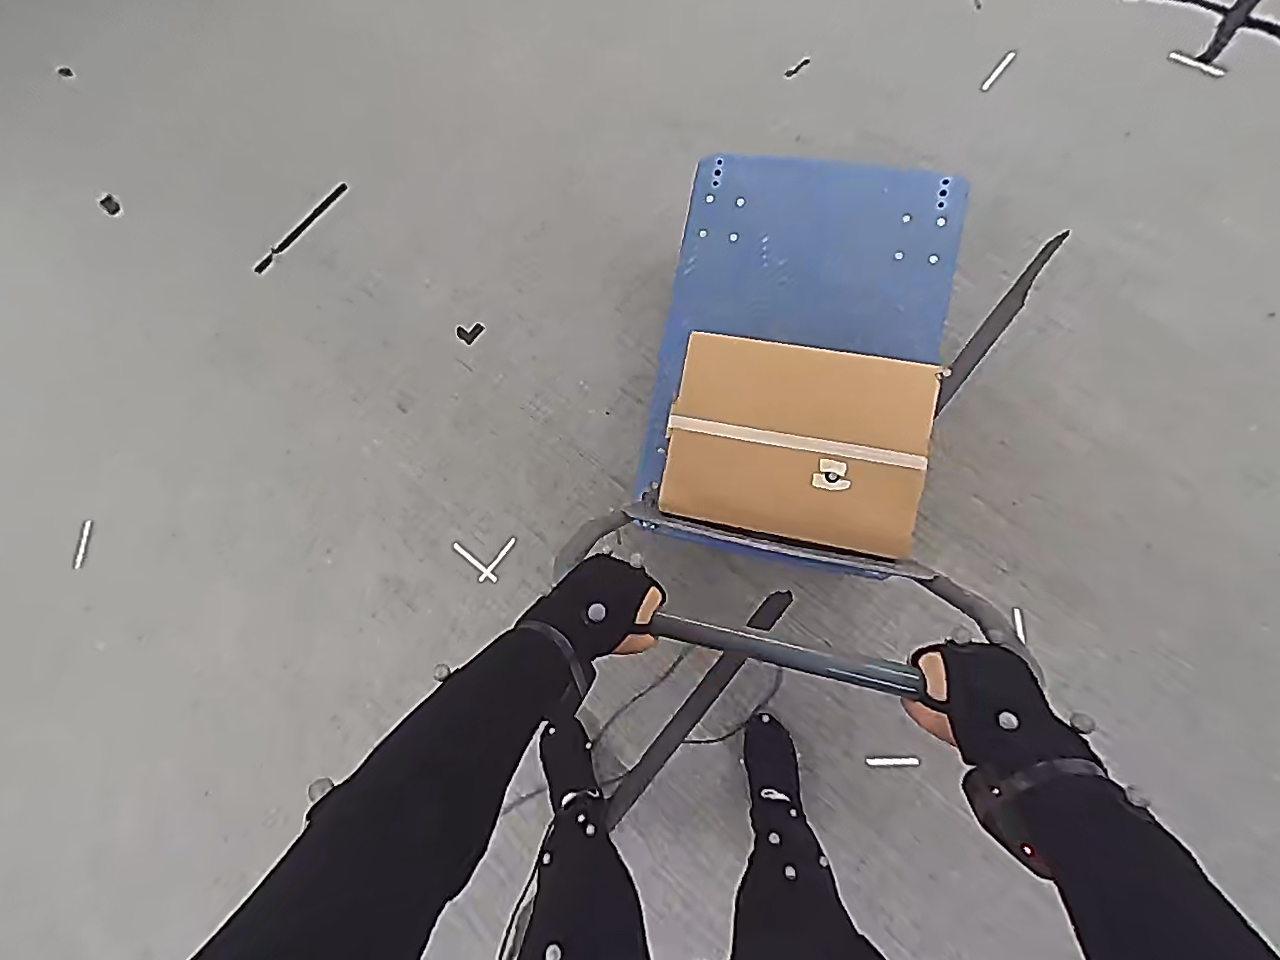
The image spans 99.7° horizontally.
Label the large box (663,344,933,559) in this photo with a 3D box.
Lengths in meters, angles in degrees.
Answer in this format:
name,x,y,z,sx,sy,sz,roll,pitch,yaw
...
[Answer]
name,x,y,z,sx,sy,sz,roll,pitch,yaw
large box,0.277,-0.048,1.046,0.408,0.320,0.320,10,90,9
